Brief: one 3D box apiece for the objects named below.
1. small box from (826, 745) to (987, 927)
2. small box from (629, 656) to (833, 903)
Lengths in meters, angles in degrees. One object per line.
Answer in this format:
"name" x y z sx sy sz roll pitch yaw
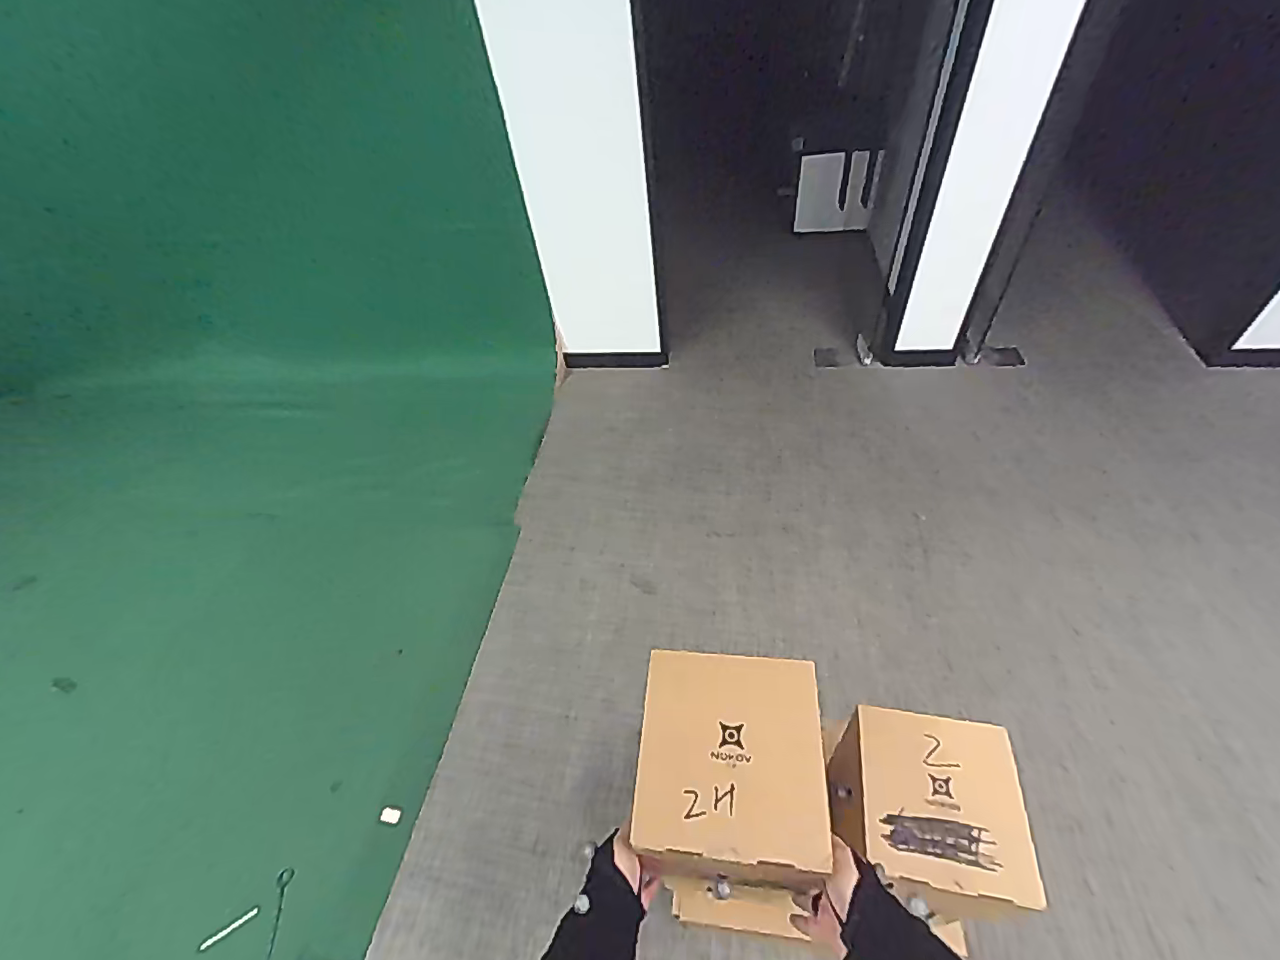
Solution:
"small box" 0.362 0.508 0.771 0.168 0.176 0.179 4 48 13
"small box" 0.089 0.301 0.546 0.168 0.176 0.179 1 49 9
